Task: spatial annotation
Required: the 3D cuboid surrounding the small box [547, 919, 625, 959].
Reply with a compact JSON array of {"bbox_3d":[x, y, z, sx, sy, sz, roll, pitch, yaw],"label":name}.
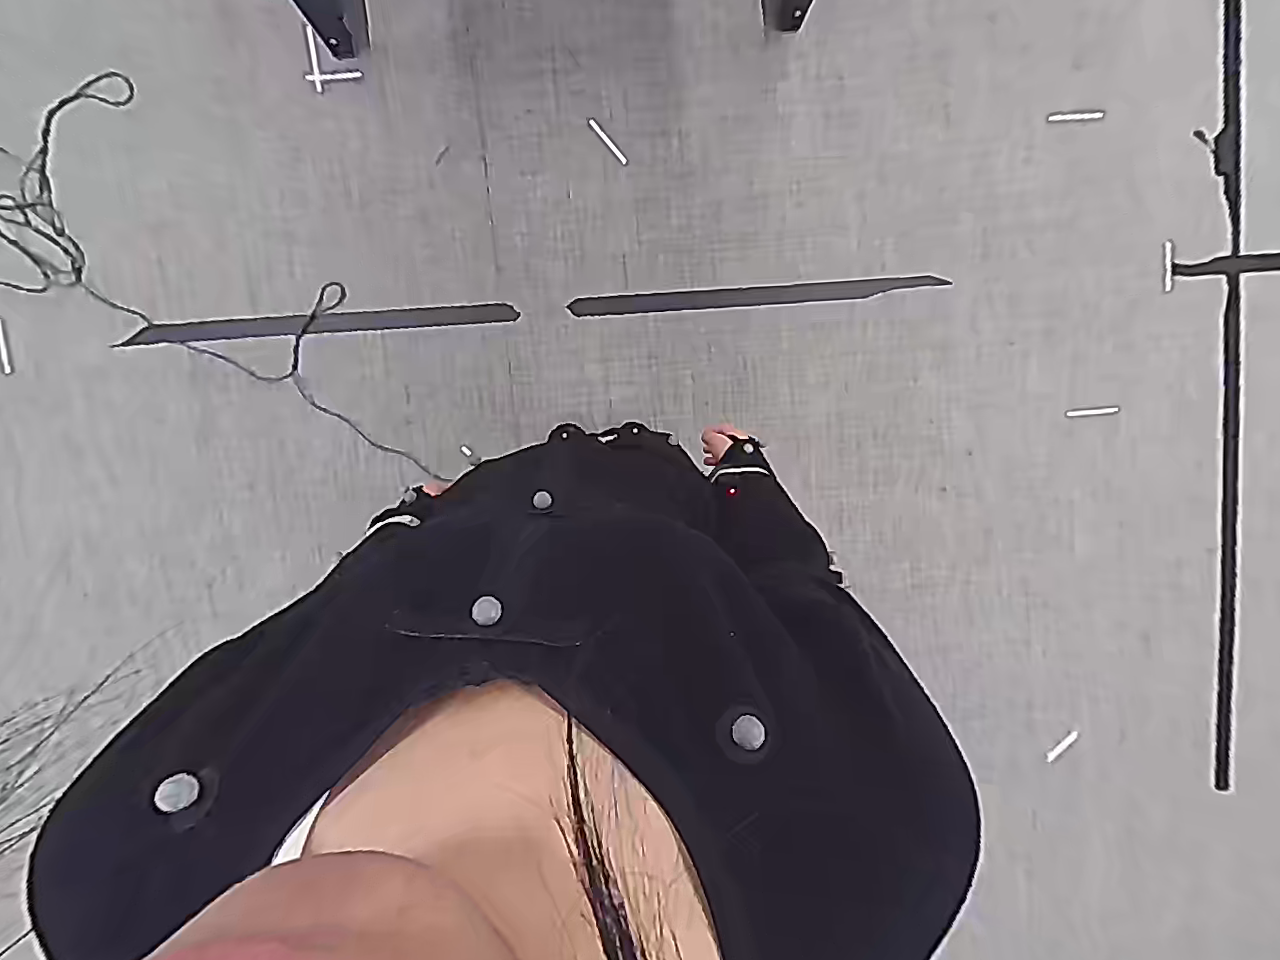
[{"bbox_3d":[-0.118,1.138,1.218,0.179,0.176,0.168,-6,94,-2],"label":"small box"}]
